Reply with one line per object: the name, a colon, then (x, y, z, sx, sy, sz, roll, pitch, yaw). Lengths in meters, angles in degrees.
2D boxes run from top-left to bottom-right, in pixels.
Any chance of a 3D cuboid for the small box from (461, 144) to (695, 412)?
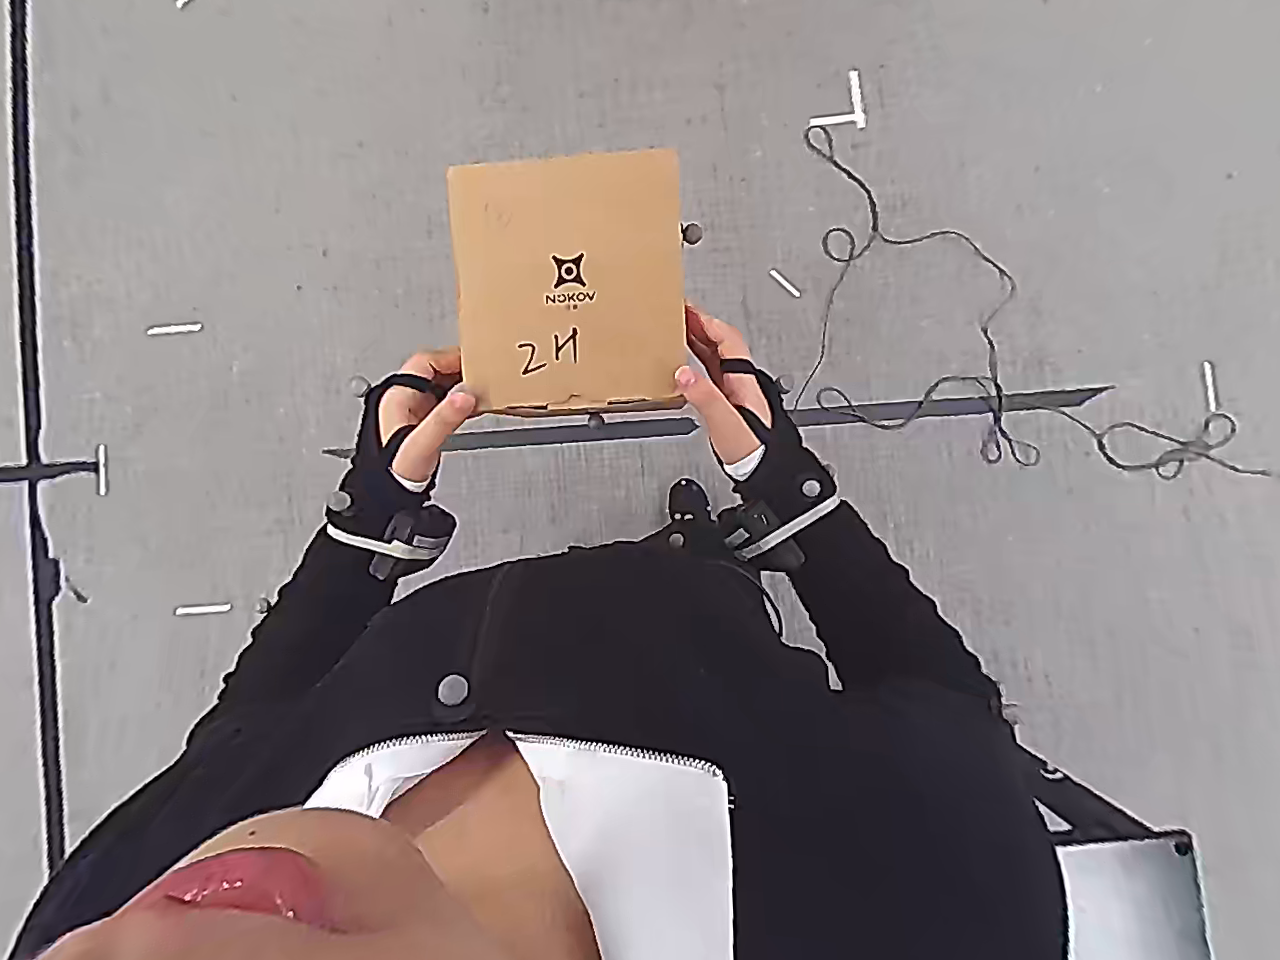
small box: (-0.041, -0.153, 0.468, 0.168, 0.176, 0.179, -2, 95, 4)
